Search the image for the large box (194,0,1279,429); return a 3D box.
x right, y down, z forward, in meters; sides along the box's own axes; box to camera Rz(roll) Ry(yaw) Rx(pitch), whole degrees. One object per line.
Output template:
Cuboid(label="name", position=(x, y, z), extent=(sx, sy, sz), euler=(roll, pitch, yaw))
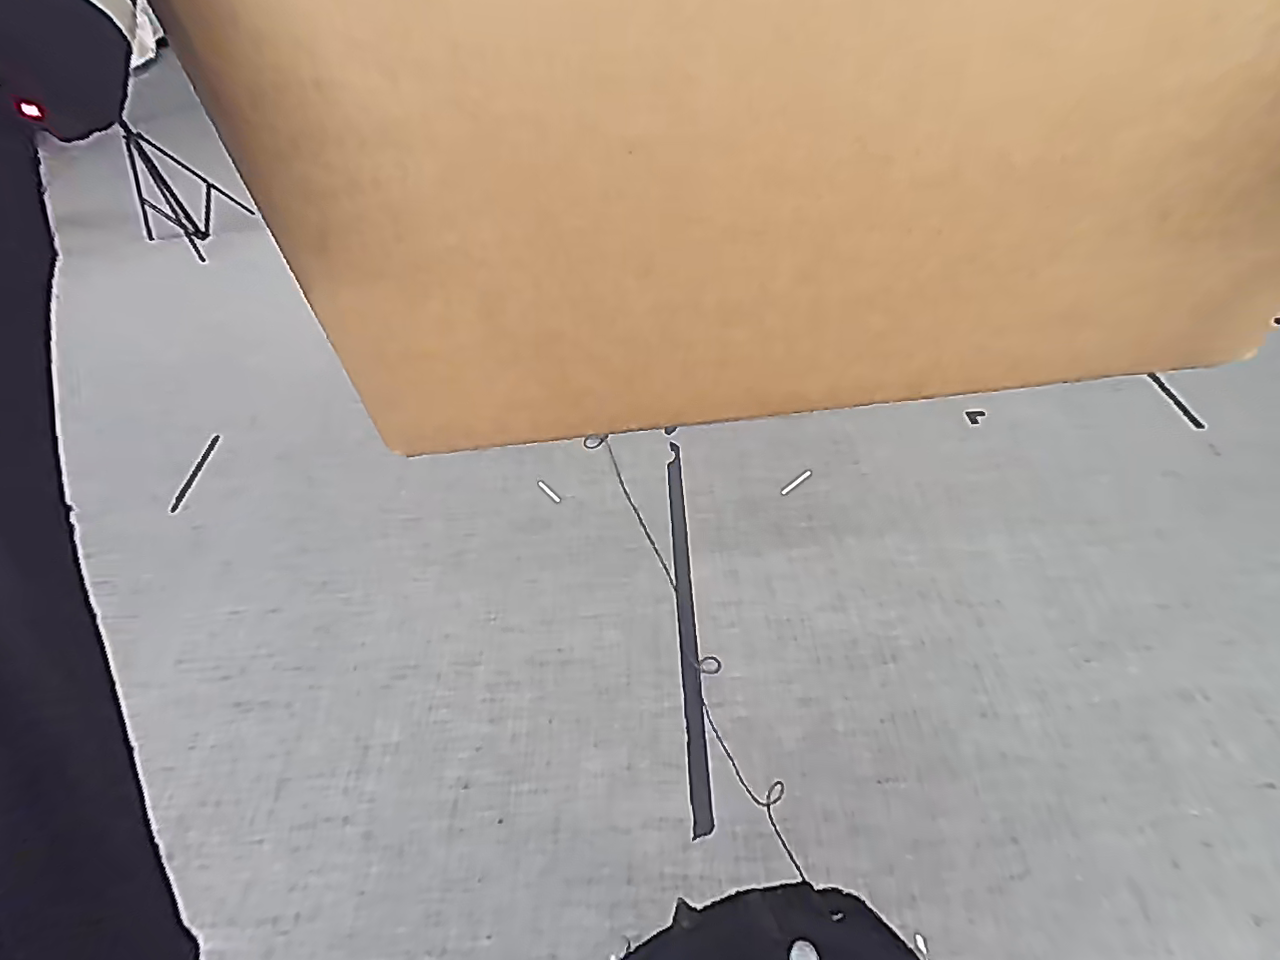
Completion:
Cuboid(label="large box", position=(0.055, -0.252, 0.268), extent=(0.408, 0.320, 0.320), euler=(-6, 44, -1))
